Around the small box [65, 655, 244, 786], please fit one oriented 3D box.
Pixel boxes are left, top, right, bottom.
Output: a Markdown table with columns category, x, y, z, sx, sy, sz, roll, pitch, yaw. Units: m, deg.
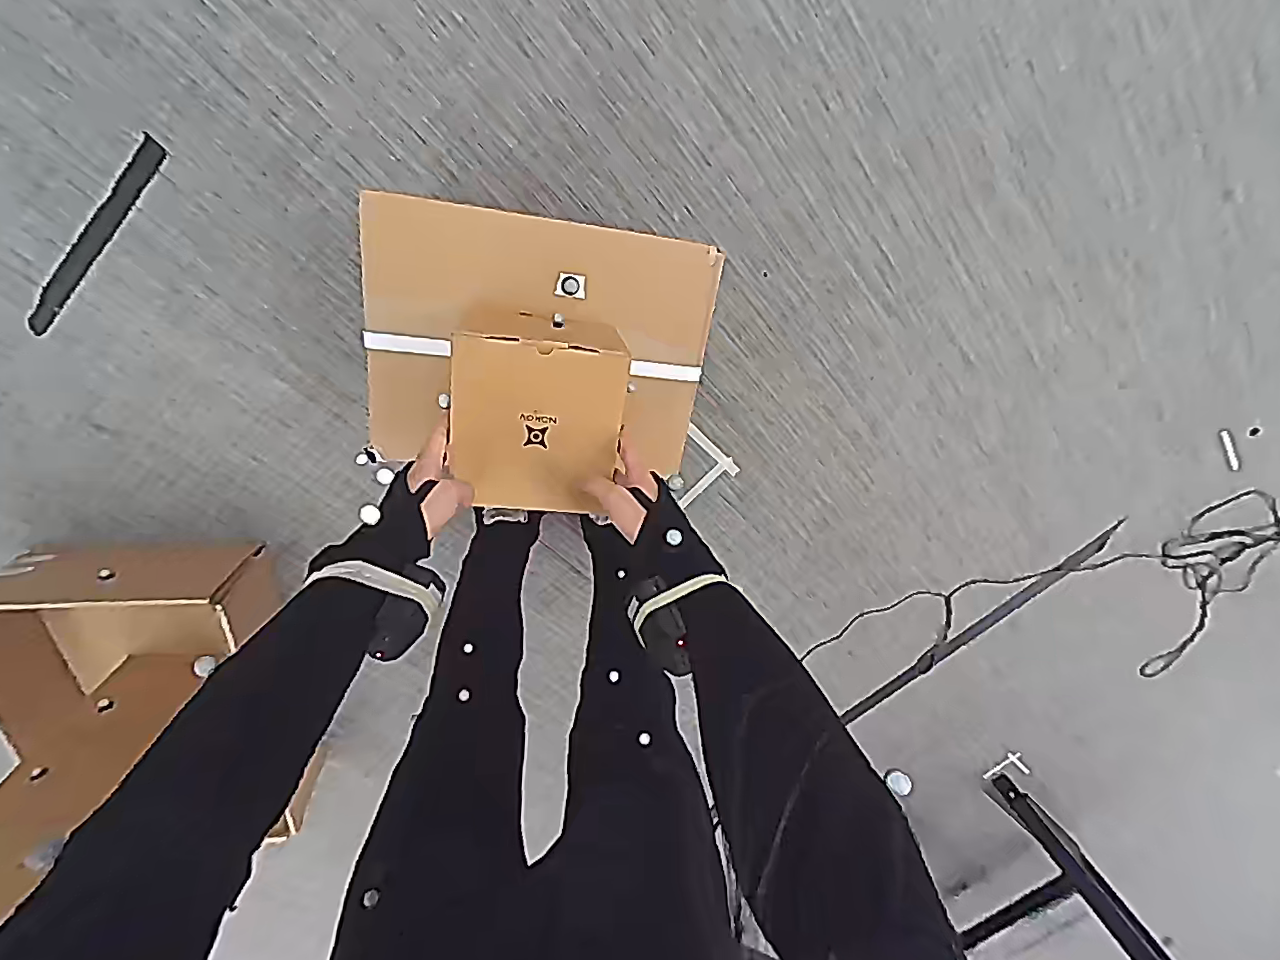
| category | x | y | z | sx | sy | sz | roll | pitch | yaw |
| --- | --- | --- | --- | --- | --- | --- | --- | --- | --- |
| small box | -0.895 | 0.447 | 1.018 | 0.179 | 0.176 | 0.168 | 3 | 115 | -10 |

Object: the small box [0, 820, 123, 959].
| category | x | y | z | sx | sy | sz | roll | pitch | yaw |
| --- | --- | --- | --- | --- | --- | --- | --- | --- | --- |
| small box | -0.856 | 0.586 | 0.724 | 0.179 | 0.176 | 0.168 | 1 | 115 | -8 |

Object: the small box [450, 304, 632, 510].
| category | x | y | z | sx | sy | sz | roll | pitch | yaw |
| --- | --- | --- | --- | --- | --- | --- | --- | --- | --- |
| small box | -0.111 | -0.086 | 0.604 | 0.168 | 0.176 | 0.179 | 5 | 114 | -12 |
